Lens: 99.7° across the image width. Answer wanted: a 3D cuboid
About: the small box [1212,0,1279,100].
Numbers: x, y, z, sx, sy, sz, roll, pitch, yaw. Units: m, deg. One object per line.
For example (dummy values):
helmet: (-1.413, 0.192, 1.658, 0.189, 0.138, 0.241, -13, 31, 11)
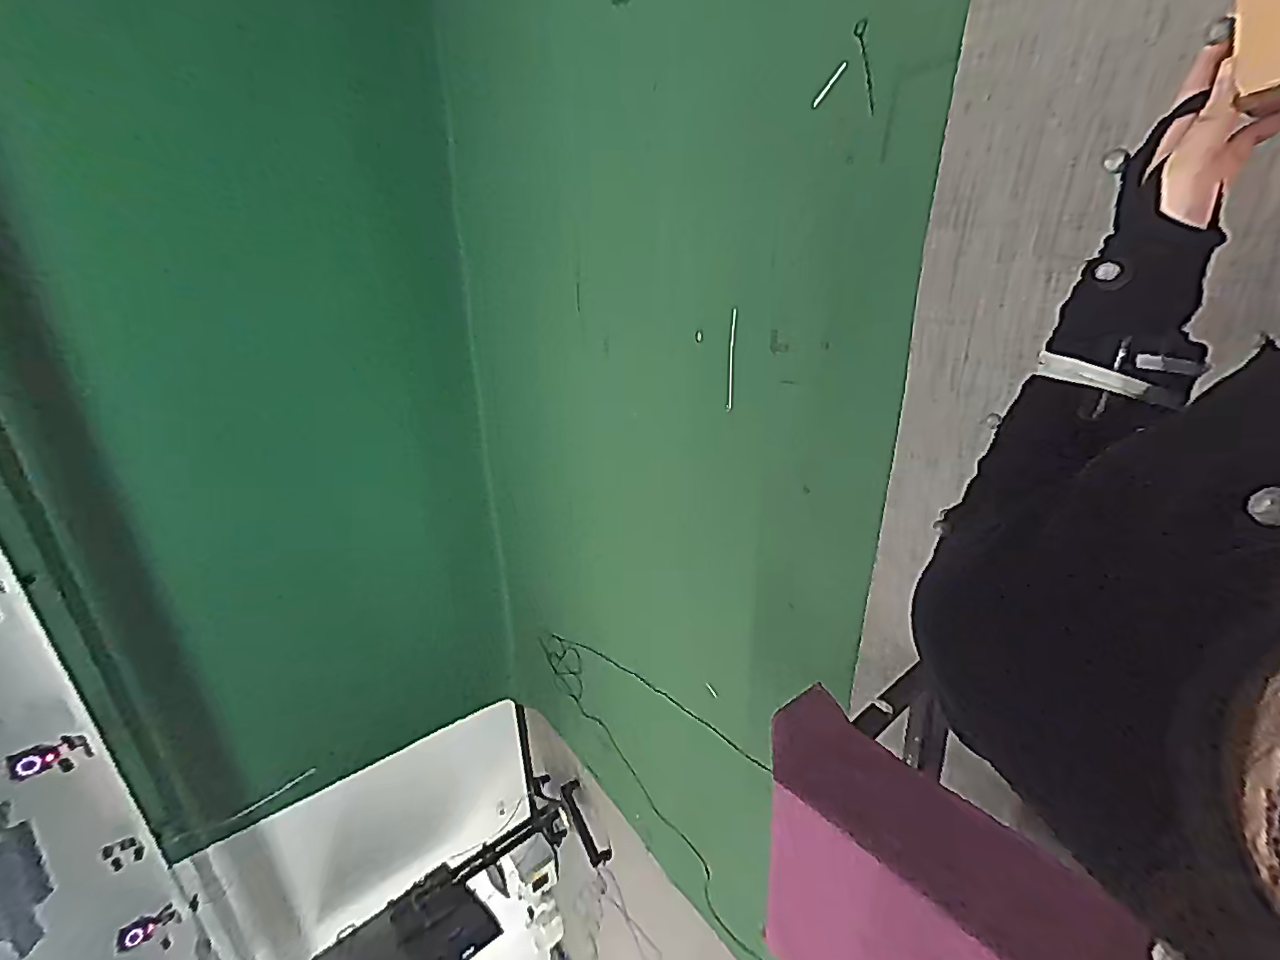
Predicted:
small box: (0.378, -0.293, 0.231, 0.168, 0.176, 0.179, 6, 115, 48)
